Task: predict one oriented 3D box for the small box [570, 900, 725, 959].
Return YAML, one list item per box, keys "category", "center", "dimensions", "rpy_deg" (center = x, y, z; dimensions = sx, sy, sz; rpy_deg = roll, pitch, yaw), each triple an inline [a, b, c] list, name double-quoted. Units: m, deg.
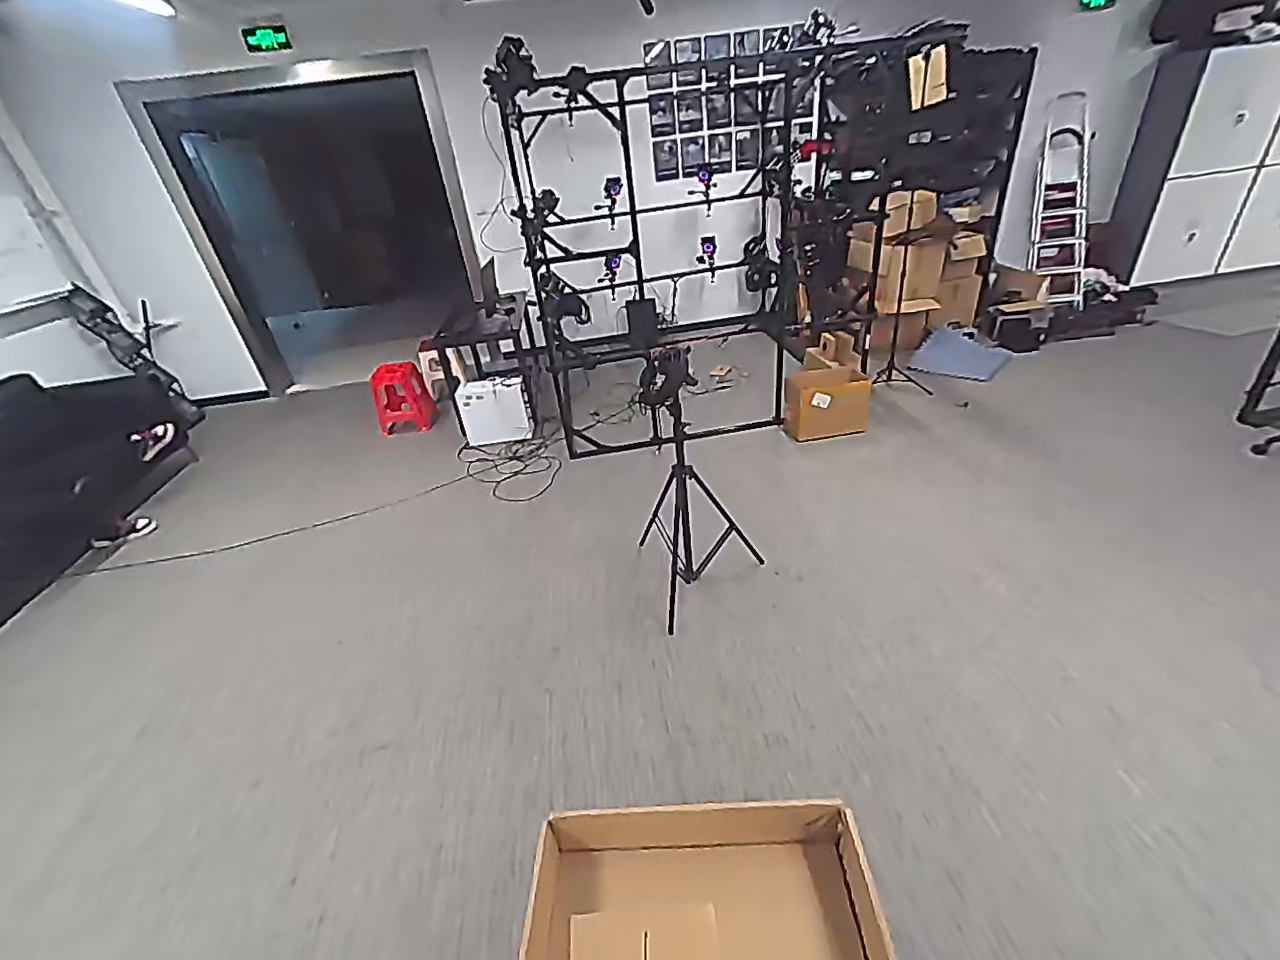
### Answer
- category: "small box"
  center: [0.016, 0.592, 0.588]
  dimensions: [0.168, 0.176, 0.179]
  rpy_deg: [-6, 40, -2]
